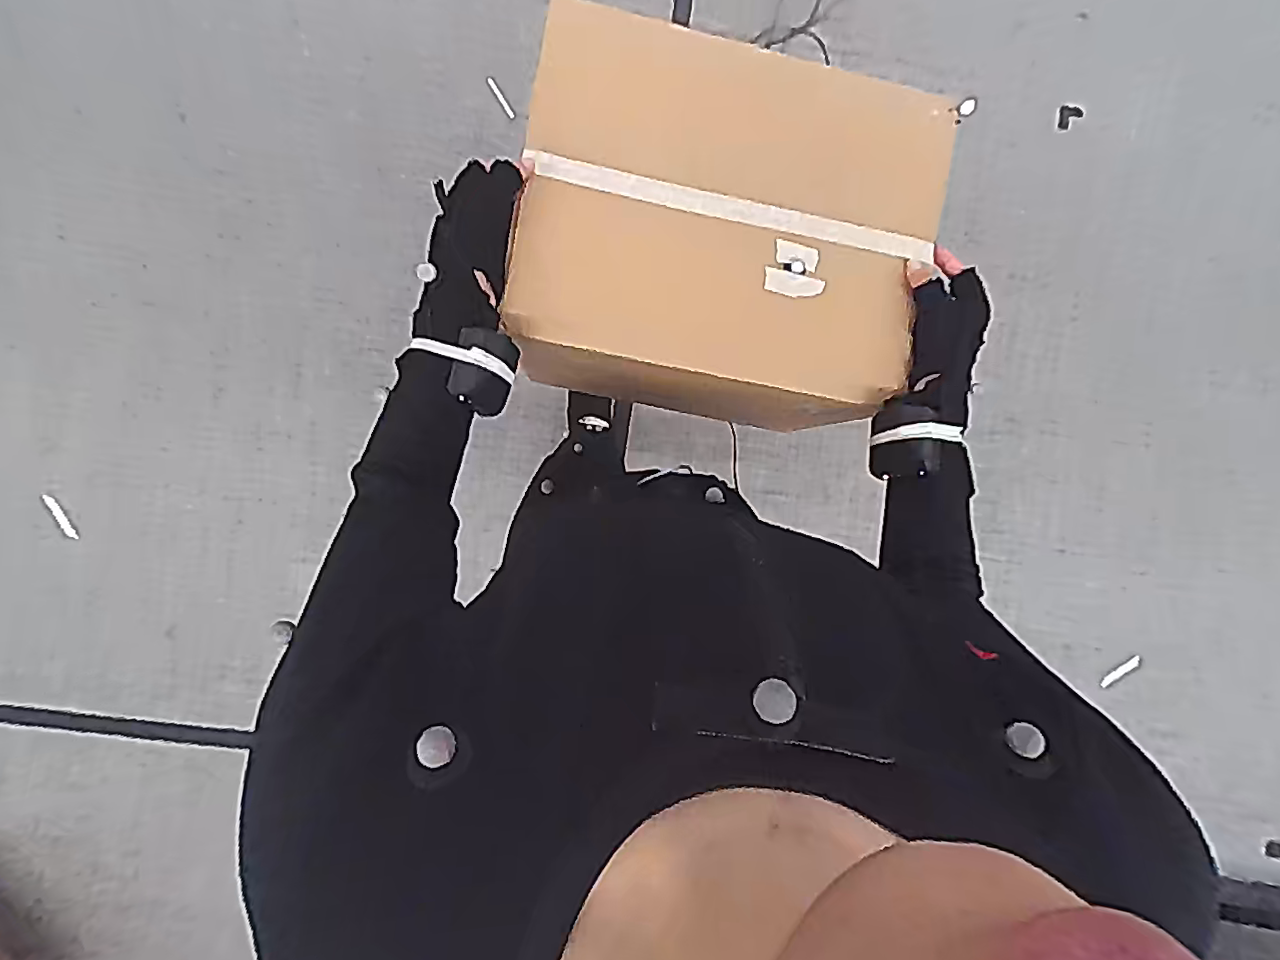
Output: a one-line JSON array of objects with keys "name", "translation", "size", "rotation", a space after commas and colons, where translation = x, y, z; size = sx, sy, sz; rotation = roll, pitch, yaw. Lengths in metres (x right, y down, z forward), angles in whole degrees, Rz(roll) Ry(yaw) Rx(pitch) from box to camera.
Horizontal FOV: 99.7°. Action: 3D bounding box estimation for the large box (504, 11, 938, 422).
[{"name": "large box", "translation": [0.070, -0.268, 0.680], "size": [0.408, 0.320, 0.320], "rotation": [10, 91, -6]}]
